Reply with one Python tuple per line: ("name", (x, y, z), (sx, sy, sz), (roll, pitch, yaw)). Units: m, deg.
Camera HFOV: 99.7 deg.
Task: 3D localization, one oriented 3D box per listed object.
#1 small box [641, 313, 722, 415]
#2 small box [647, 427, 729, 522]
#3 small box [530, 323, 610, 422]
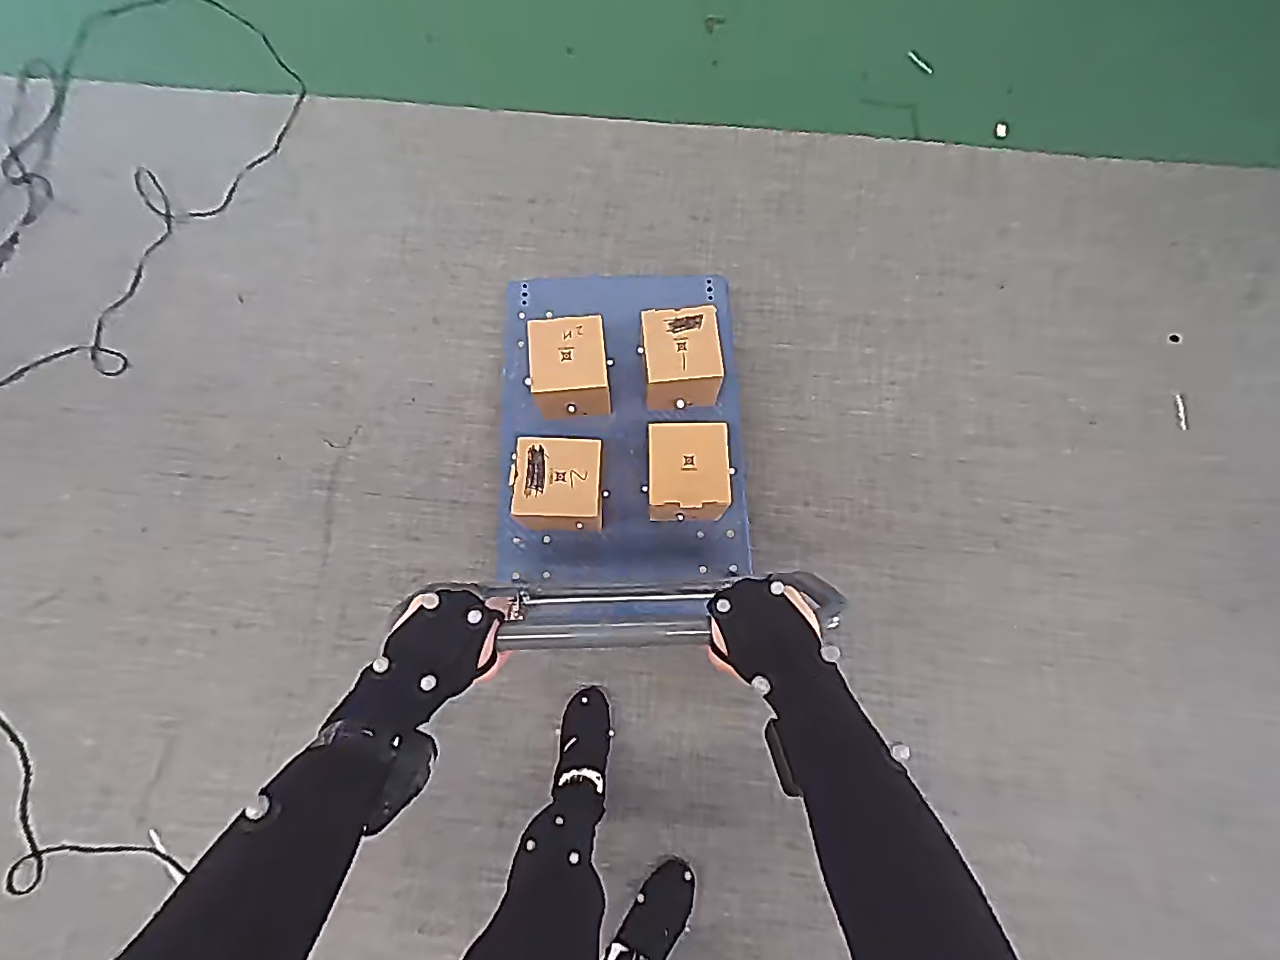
("small box", (0.091, -0.269, 1.277), (0.168, 0.176, 0.179), (-5, 76, -1))
("small box", (0.101, -0.007, 1.208), (0.168, 0.176, 0.179), (-1, 75, 0))
("small box", (-0.159, -0.244, 1.270), (0.168, 0.176, 0.179), (-5, 75, -2))
